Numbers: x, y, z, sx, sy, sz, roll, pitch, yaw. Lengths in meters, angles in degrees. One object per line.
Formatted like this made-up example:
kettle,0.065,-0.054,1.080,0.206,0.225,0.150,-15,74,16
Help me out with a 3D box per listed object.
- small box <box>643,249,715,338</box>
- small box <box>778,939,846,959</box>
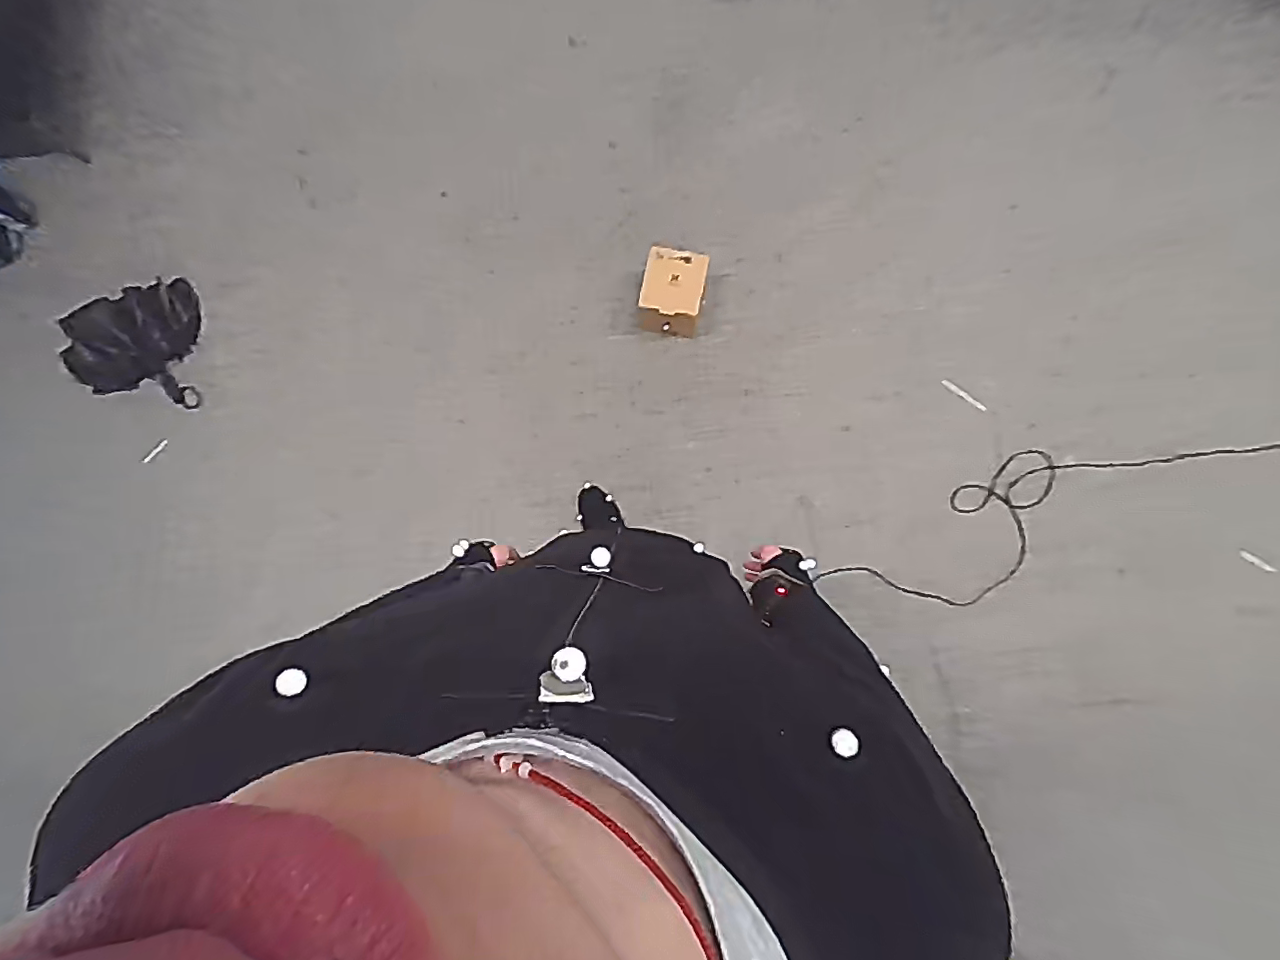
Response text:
small box,0.111,-0.520,1.530,0.168,0.176,0.179,12,86,5
small box,0.442,1.294,1.345,0.168,0.176,0.179,-2,85,5
